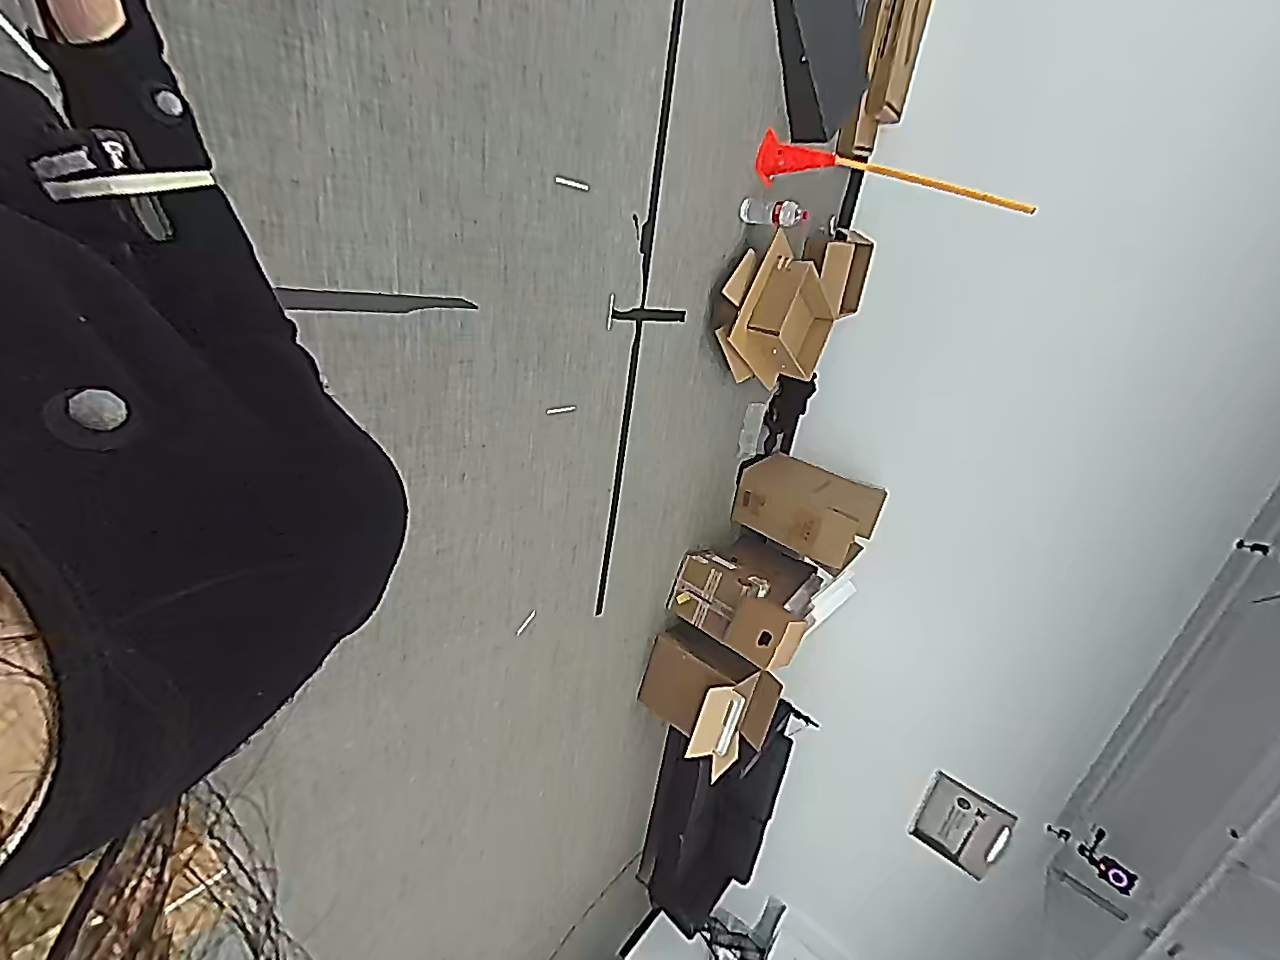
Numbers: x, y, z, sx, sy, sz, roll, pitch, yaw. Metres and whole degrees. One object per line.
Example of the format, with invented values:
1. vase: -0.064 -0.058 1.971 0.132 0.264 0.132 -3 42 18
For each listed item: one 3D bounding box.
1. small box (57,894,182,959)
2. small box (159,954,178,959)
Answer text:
1. small box: -1.133 1.076 1.191 0.168 0.176 0.179 -23 127 -47
2. small box: -1.012 1.128 1.097 0.168 0.176 0.179 -23 129 -45
